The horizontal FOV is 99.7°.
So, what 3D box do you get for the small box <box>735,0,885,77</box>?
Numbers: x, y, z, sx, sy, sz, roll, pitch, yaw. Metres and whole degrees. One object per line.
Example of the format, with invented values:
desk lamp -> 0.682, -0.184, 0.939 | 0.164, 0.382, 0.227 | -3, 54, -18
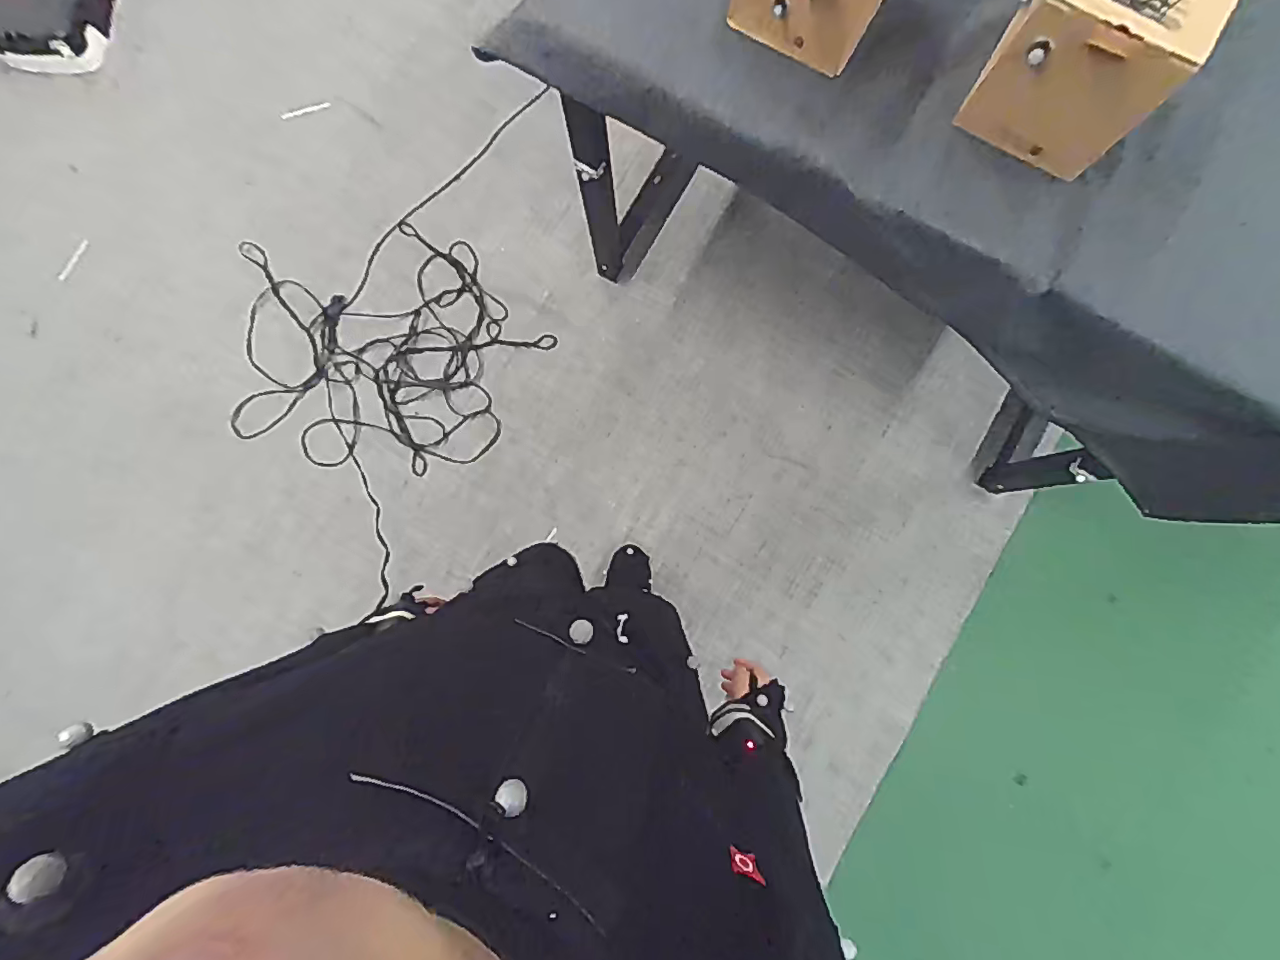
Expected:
small box -> 0.229, -0.643, 0.639 | 0.168, 0.176, 0.179 | 30, 86, 3
